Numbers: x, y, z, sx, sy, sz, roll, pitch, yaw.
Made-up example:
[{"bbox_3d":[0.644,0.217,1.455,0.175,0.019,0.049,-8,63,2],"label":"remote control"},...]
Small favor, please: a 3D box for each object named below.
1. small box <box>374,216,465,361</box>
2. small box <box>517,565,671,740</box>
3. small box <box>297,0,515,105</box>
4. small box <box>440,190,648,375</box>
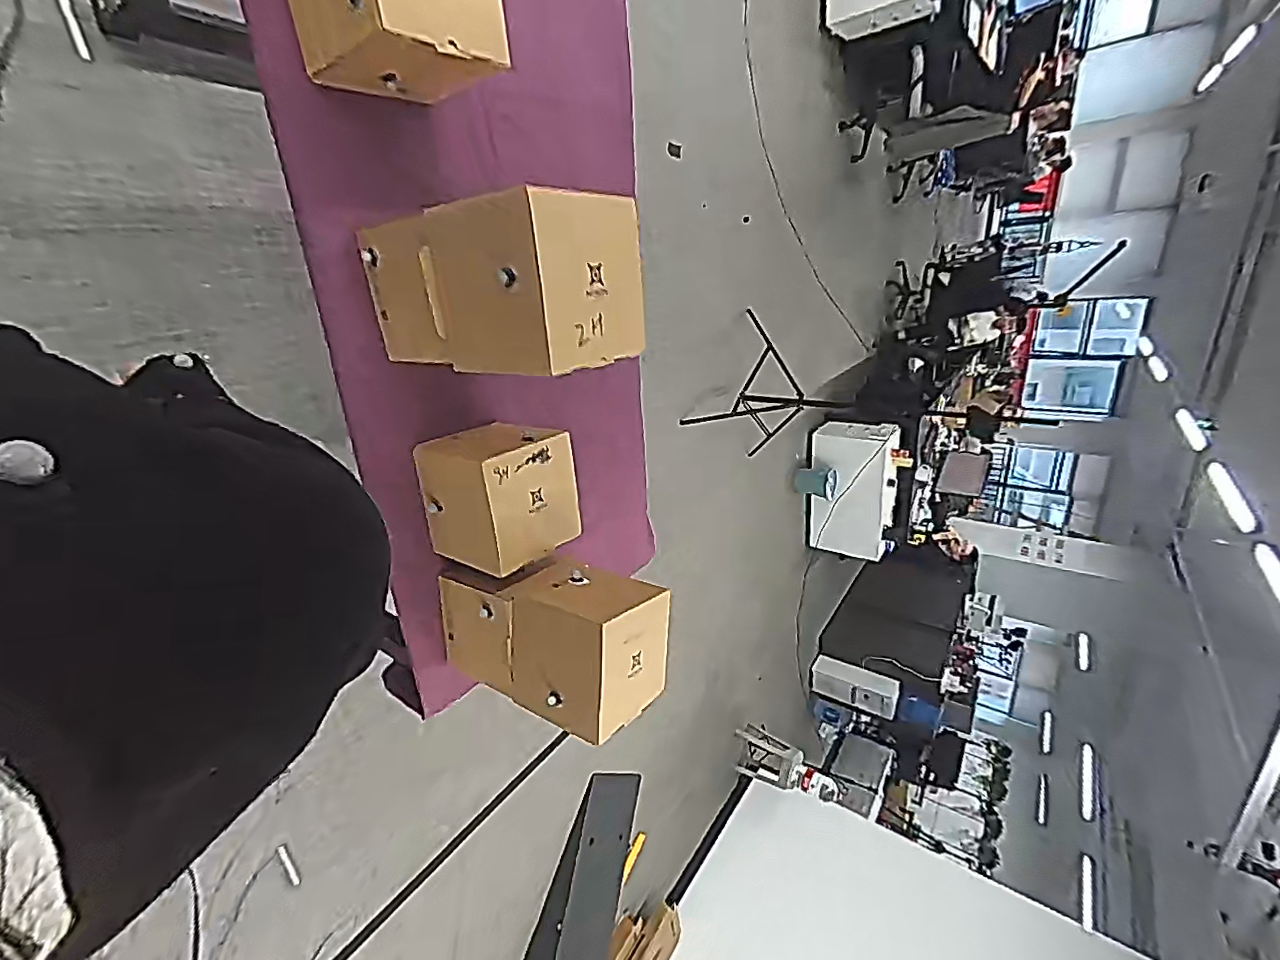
[{"bbox_3d":[-0.234,-0.259,0.737,0.179,0.176,0.168,-32,124,-47],"label":"small box"},{"bbox_3d":[-0.070,0.245,0.815,0.168,0.176,0.179,-13,108,-55],"label":"small box"},{"bbox_3d":[-0.271,-0.555,0.608,0.168,0.176,0.179,-31,123,-47],"label":"small box"},{"bbox_3d":[-0.110,-0.224,0.634,0.168,0.176,0.179,-28,121,-47],"label":"small box"}]
